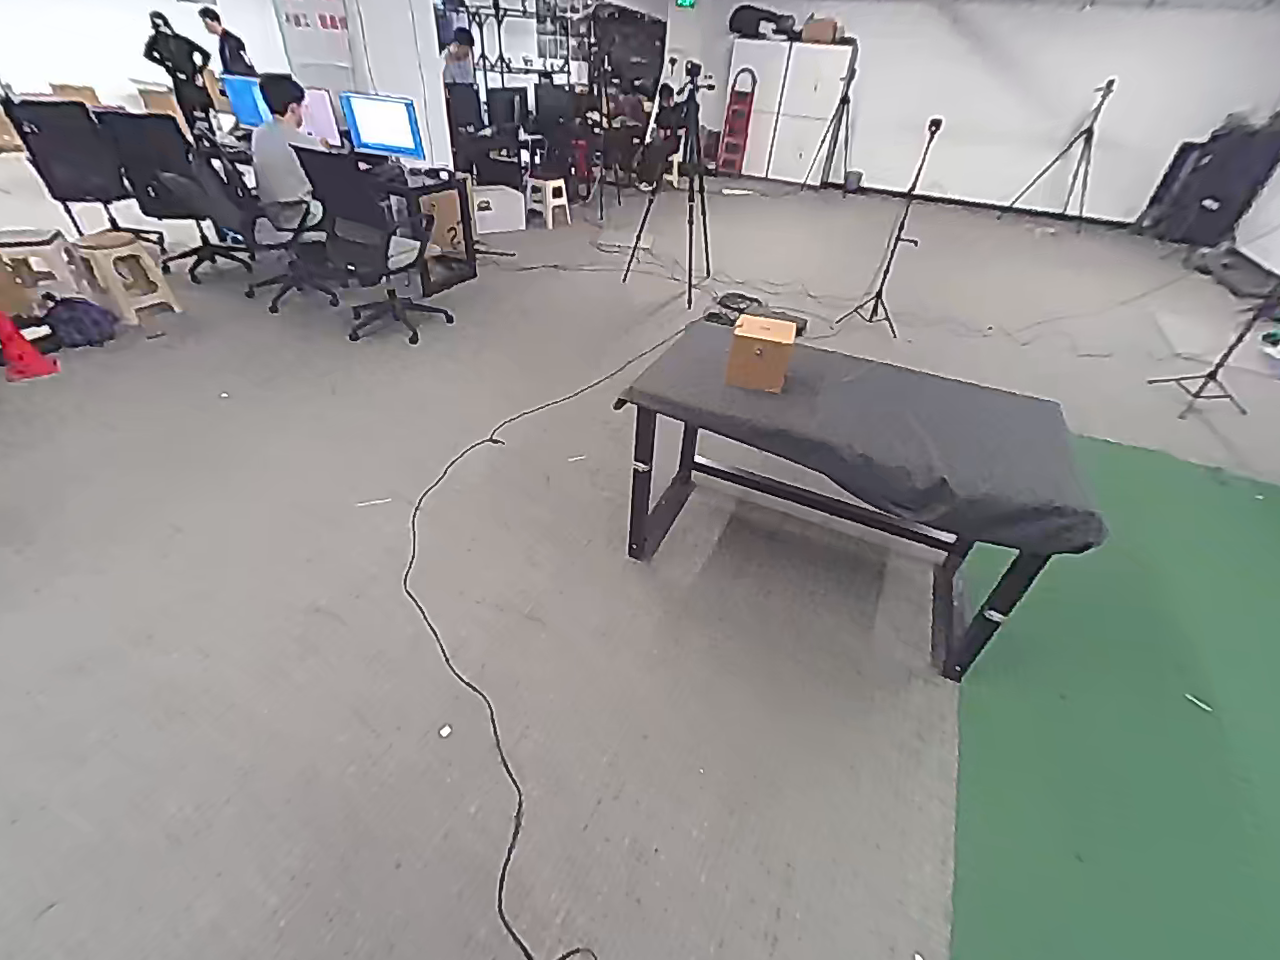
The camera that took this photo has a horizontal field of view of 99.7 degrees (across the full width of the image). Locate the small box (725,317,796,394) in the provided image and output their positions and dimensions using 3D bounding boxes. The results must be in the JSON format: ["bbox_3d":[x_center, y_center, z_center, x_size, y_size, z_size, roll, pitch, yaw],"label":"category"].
[{"bbox_3d":[0.368,-0.380,1.662,0.179,0.176,0.168,13,40,10],"label":"small box"}]
